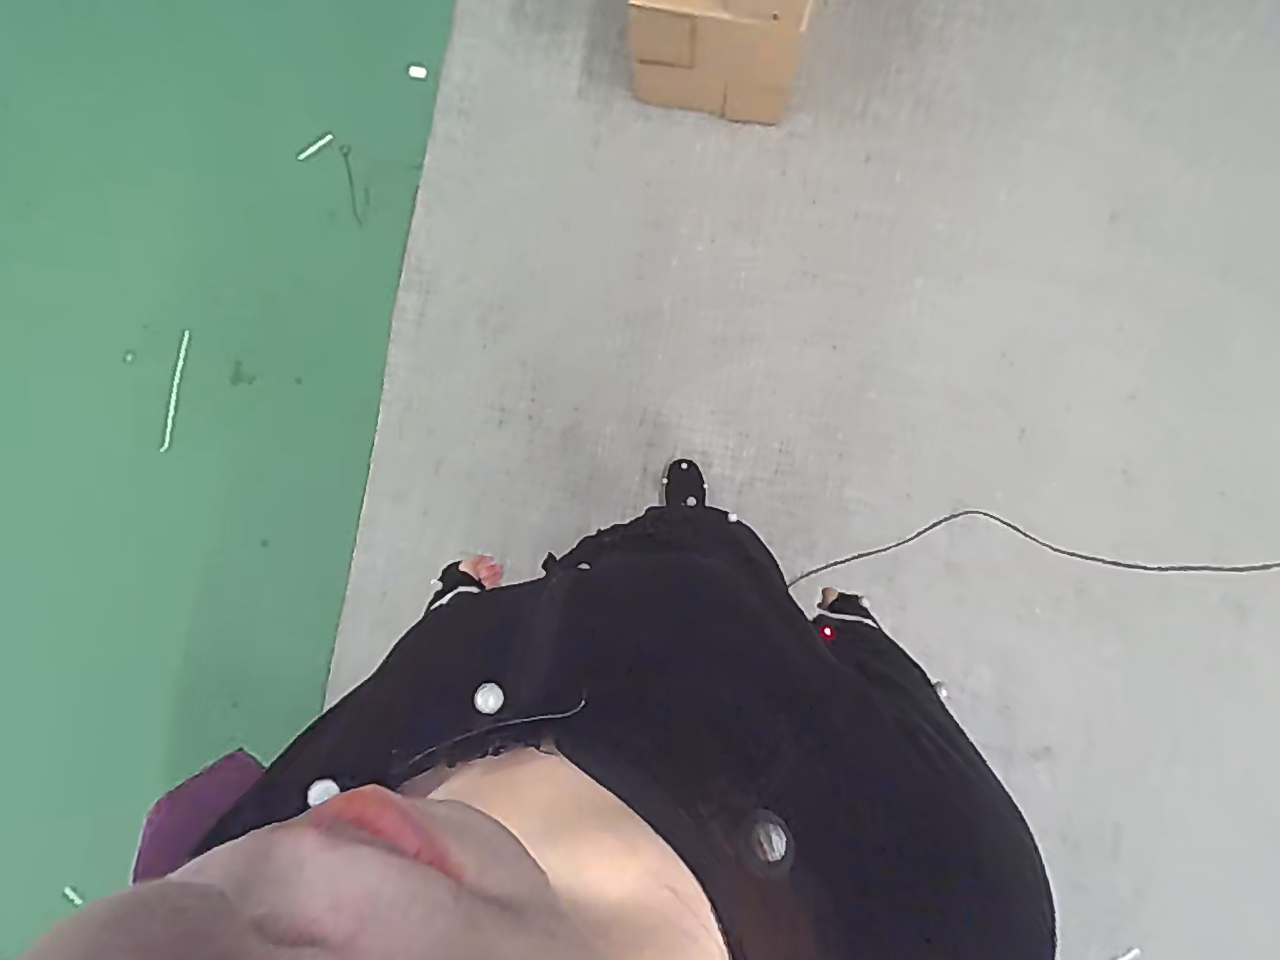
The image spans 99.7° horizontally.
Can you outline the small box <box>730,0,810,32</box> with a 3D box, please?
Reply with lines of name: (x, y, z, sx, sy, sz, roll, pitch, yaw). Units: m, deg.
small box: (0.285, -1.074, 1.096, 0.168, 0.176, 0.179, 16, 88, 5)
